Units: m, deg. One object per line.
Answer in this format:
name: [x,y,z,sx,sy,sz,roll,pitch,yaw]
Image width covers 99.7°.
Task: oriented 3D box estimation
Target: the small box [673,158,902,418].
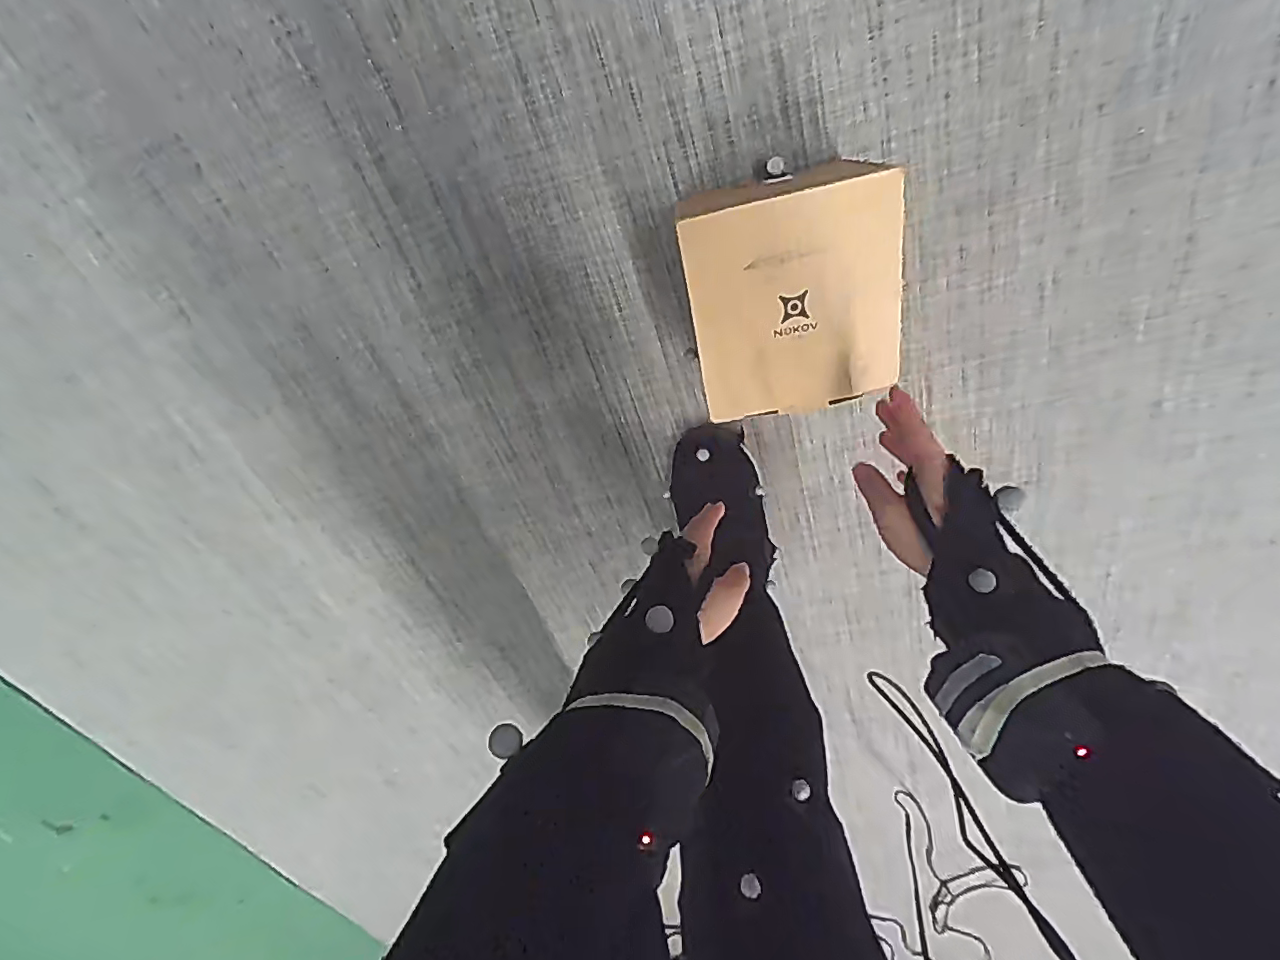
small box: [0.127,-0.182,0.503,0.168,0.176,0.179,-10,120,8]
